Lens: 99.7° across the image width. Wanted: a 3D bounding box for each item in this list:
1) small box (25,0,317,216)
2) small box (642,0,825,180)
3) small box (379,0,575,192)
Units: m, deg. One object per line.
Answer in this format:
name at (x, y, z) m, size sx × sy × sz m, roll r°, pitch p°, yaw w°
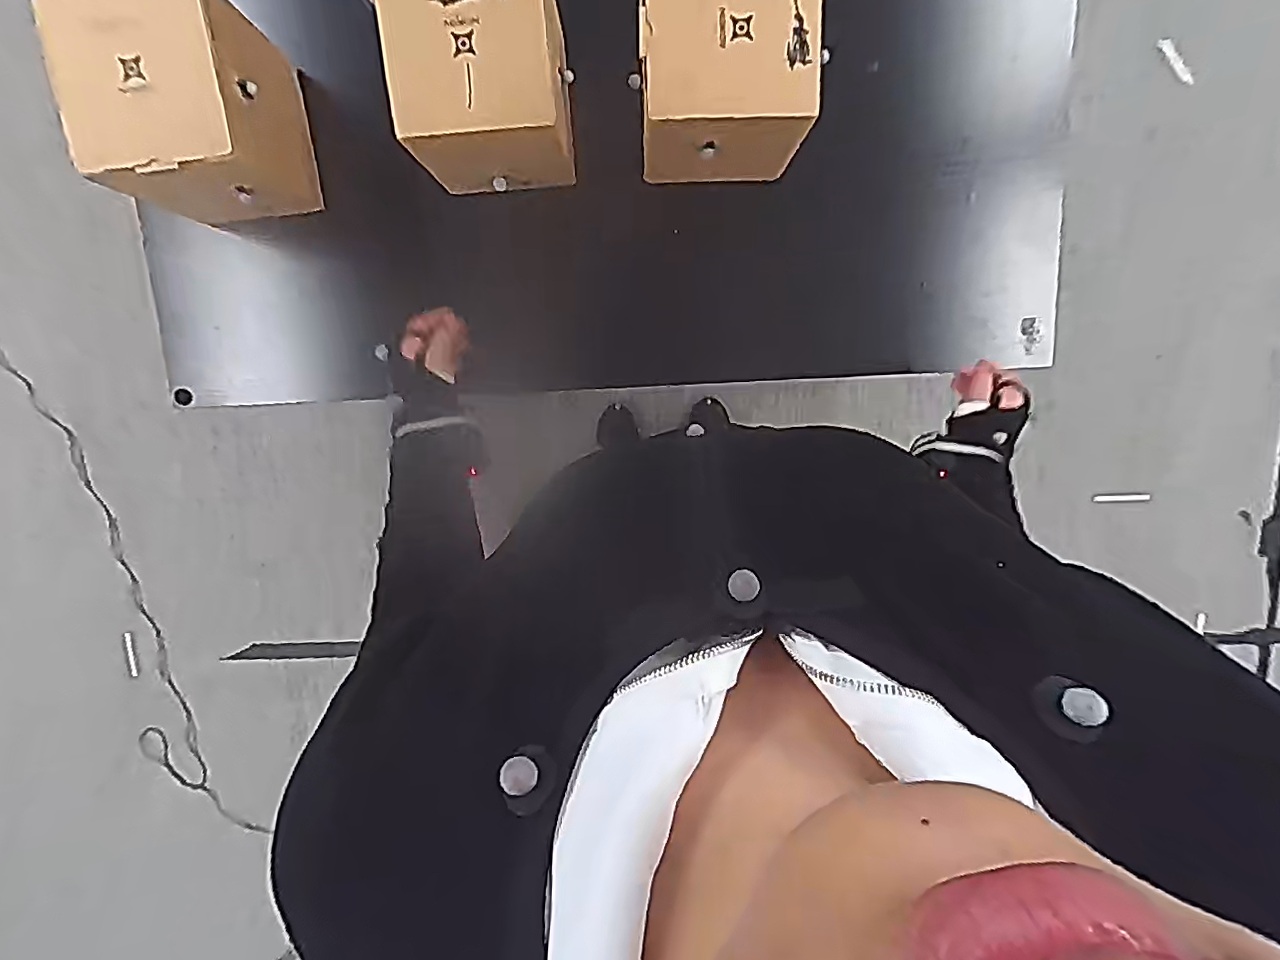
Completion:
small box at (-0.498, -0.413, 0.606) m, size 0.168 × 0.176 × 0.179 m, roll -7°, pitch 99°, yaw 0°
small box at (0.093, -0.451, 0.600) m, size 0.179 × 0.176 × 0.168 m, roll -1°, pitch 99°, yaw 1°
small box at (-0.167, -0.446, 0.600) m, size 0.168 × 0.176 × 0.179 m, roll -4°, pitch 100°, yaw 1°
